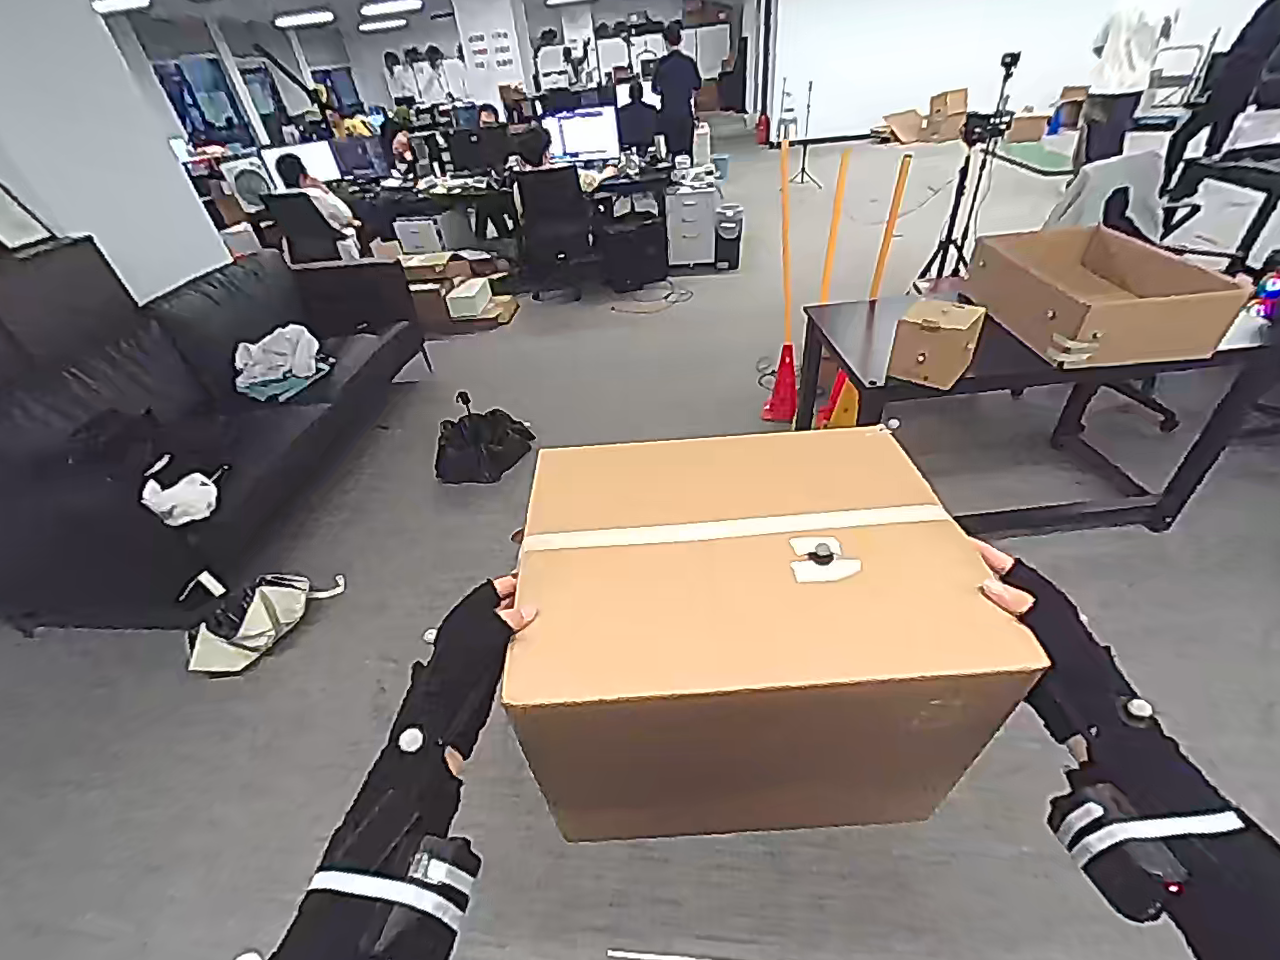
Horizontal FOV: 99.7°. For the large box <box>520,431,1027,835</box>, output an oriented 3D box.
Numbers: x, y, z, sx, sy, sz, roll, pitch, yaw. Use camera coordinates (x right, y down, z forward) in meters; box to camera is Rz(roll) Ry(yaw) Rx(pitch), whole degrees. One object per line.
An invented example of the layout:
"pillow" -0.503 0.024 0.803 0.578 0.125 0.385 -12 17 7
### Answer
"large box" 0.100 0.168 0.620 0.408 0.320 0.320 -4 41 -1
